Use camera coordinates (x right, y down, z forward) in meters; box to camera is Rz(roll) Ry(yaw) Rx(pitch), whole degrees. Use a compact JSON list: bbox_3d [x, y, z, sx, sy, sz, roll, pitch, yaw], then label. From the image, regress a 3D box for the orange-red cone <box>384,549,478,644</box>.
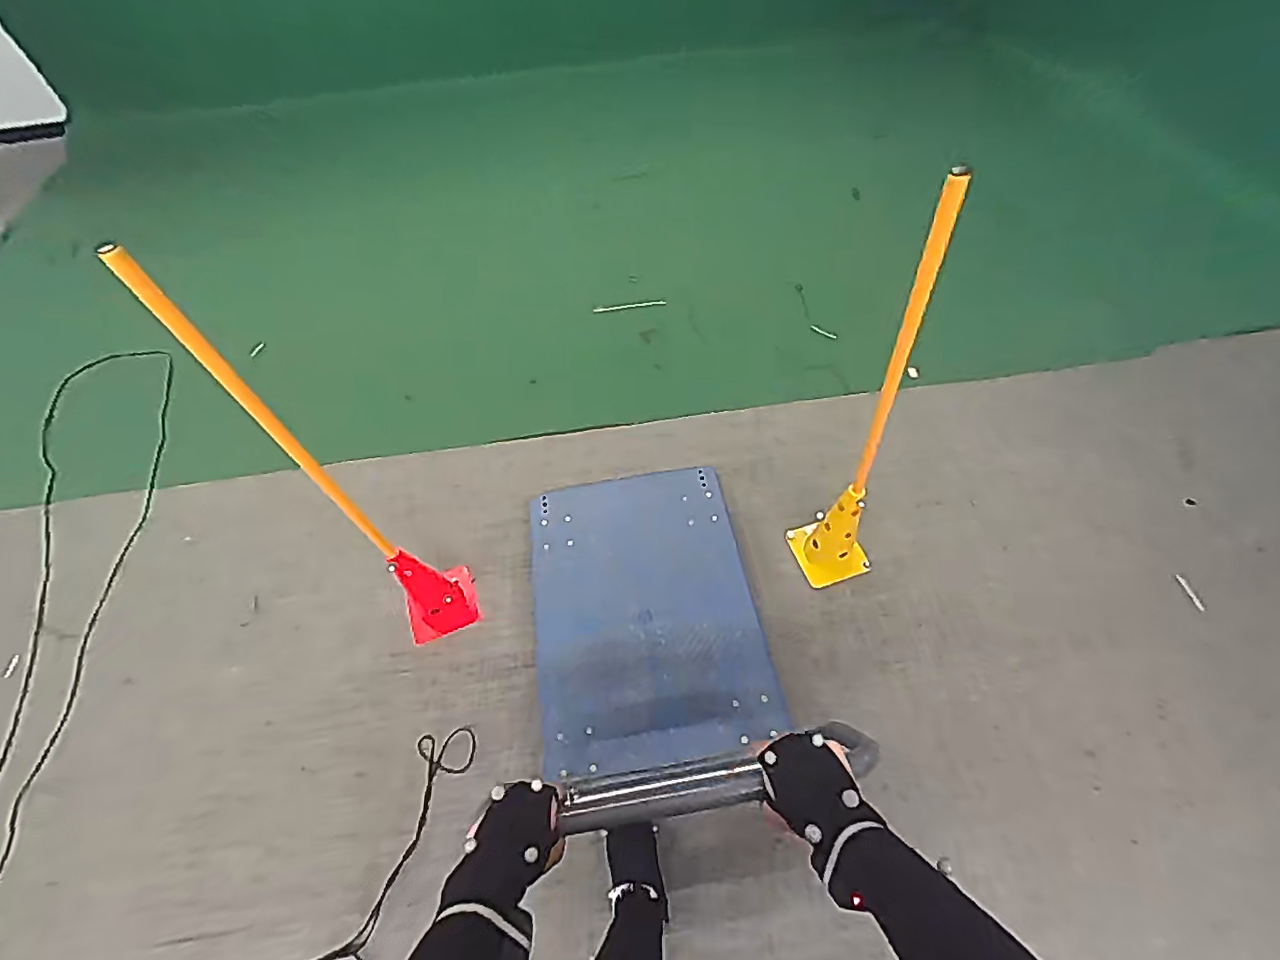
[{"bbox_3d":[-0.608,0.286,1.487,0.199,0.360,0.198,-20,57,-8],"label":"orange-red cone"}]
